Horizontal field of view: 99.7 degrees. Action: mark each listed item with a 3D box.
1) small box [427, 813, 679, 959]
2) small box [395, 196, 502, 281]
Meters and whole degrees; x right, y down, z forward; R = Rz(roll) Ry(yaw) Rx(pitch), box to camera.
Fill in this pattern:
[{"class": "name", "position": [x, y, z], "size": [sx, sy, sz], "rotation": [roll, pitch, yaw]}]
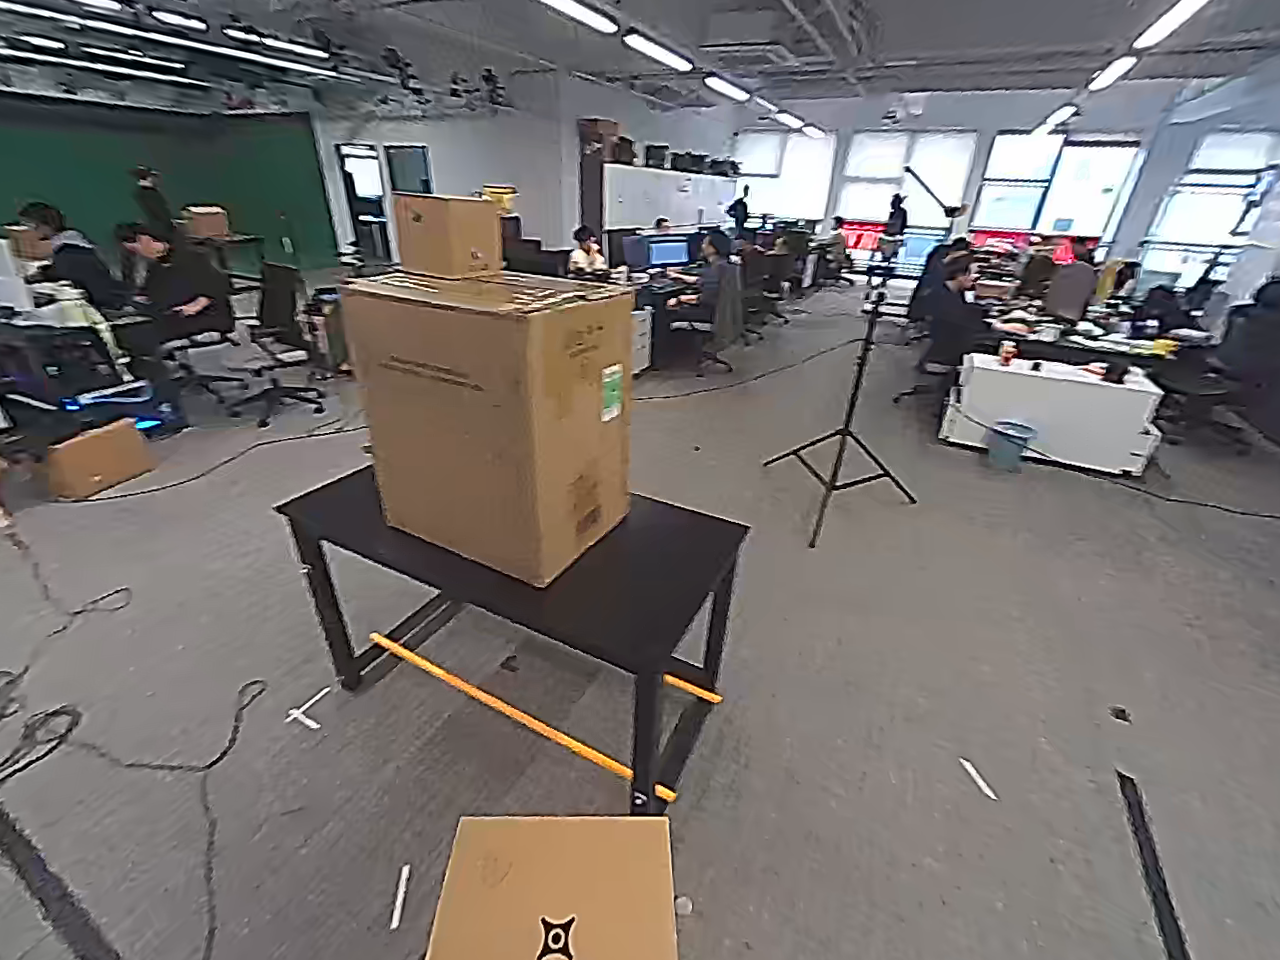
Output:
[{"class": "small box", "position": [-0.061, 0.378, 0.392], "size": [0.168, 0.176, 0.179], "rotation": [1, 30, -3]}, {"class": "small box", "position": [-0.447, -0.570, 1.282], "size": [0.179, 0.176, 0.168], "rotation": [17, 30, 23]}]
